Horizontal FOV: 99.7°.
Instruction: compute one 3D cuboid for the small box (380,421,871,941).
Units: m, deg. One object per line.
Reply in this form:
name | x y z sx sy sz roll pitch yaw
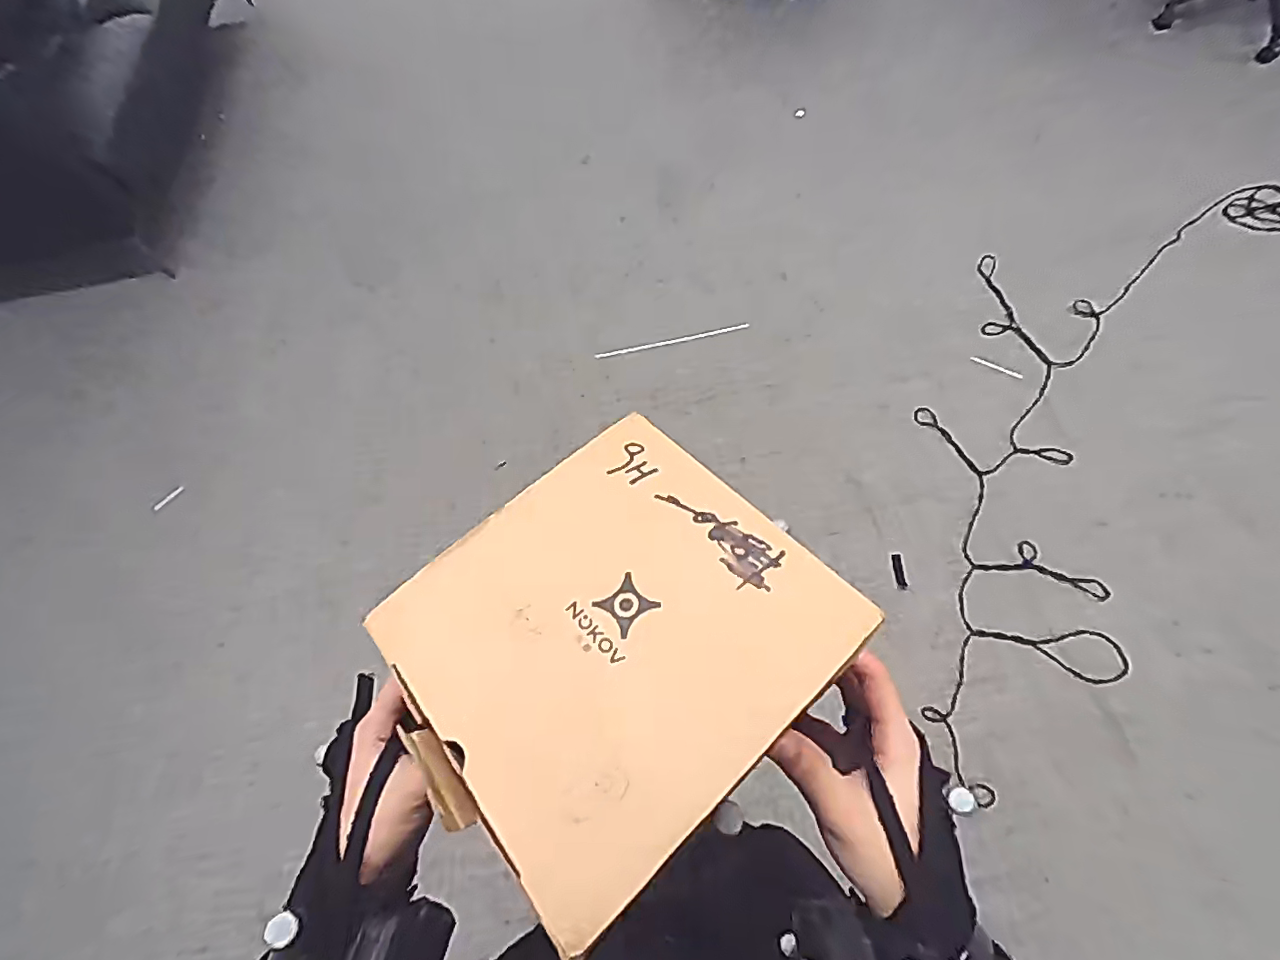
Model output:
small box | -0.003 0.107 0.316 0.179 0.176 0.168 -39 61 -17
